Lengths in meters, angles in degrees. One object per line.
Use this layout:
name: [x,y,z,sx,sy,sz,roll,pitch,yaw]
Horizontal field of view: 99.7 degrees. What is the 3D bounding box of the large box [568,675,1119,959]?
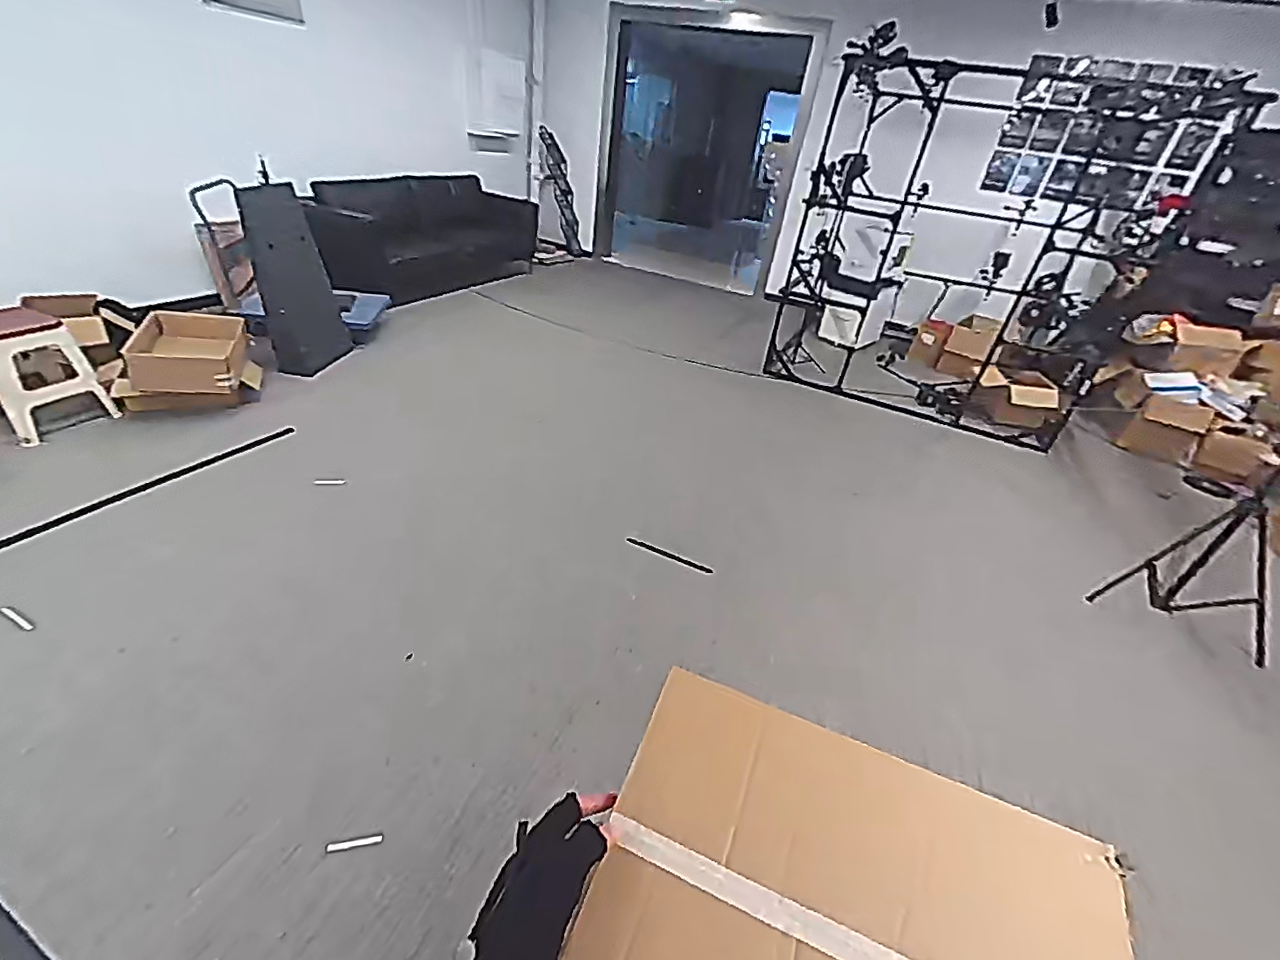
large box: [0.161,0.465,0.537,0.408,0.320,0.320,18,49,15]
